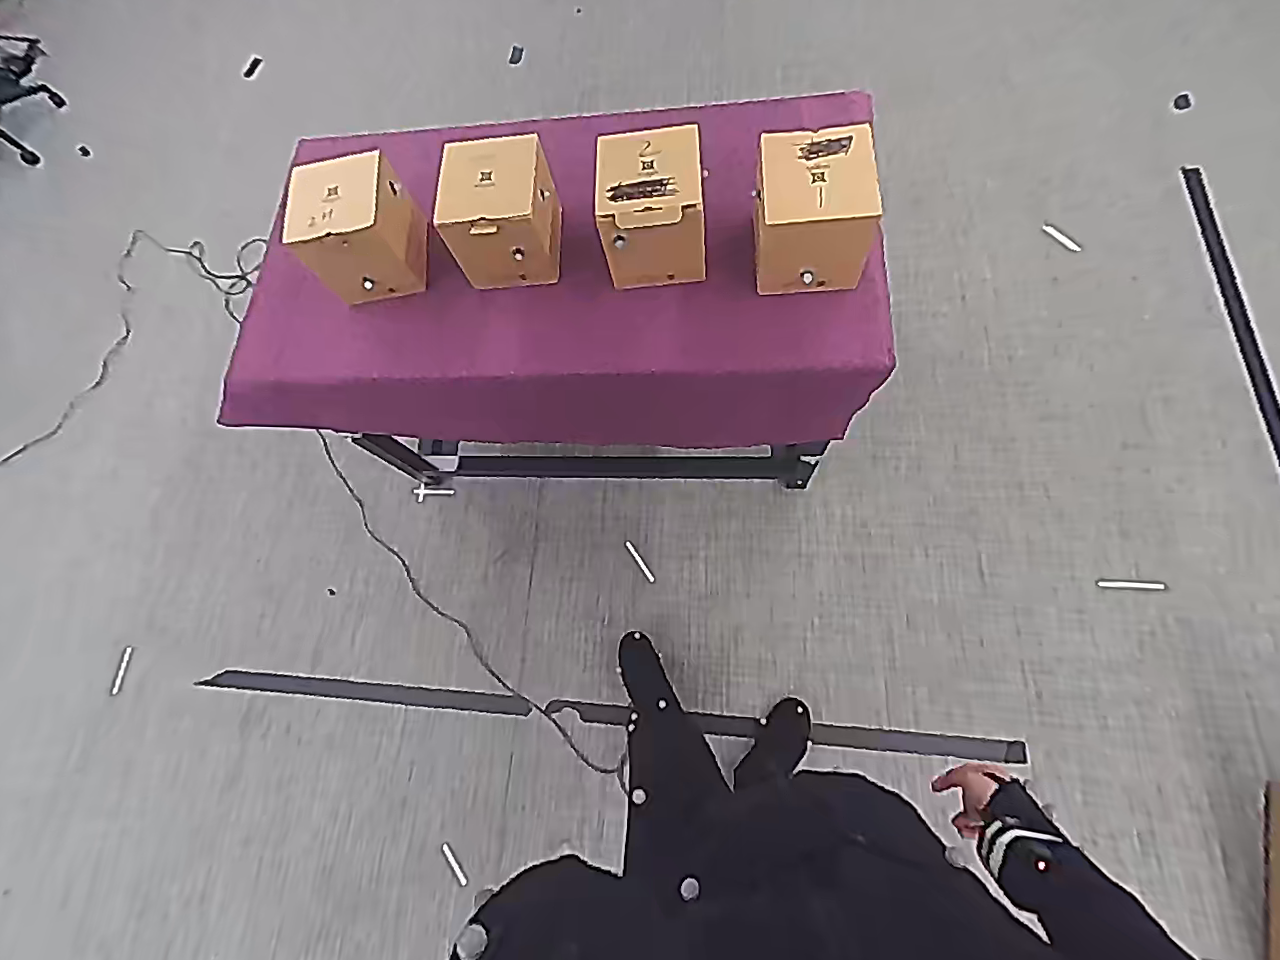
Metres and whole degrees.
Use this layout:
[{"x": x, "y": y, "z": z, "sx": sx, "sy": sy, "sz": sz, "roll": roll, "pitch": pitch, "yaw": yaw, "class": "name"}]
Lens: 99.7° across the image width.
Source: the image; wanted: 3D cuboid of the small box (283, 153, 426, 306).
[{"x": -0.509, "y": -0.450, "z": 0.990, "sx": 0.168, "sy": 0.176, "sz": 0.179, "roll": -9, "pitch": 71, "yaw": 5, "class": "small box"}]

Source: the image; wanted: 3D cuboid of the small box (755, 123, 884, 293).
[{"x": 0.275, "y": -0.429, "z": 0.871, "sx": 0.168, "sy": 0.176, "sz": 0.179, "roll": -2, "pitch": 72, "yaw": 8, "class": "small box"}]

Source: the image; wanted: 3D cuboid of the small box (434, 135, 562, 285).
[{"x": -0.241, "y": -0.465, "z": 0.959, "sx": 0.168, "sy": 0.176, "sz": 0.179, "roll": -2, "pitch": 71, "yaw": 7, "class": "small box"}]
